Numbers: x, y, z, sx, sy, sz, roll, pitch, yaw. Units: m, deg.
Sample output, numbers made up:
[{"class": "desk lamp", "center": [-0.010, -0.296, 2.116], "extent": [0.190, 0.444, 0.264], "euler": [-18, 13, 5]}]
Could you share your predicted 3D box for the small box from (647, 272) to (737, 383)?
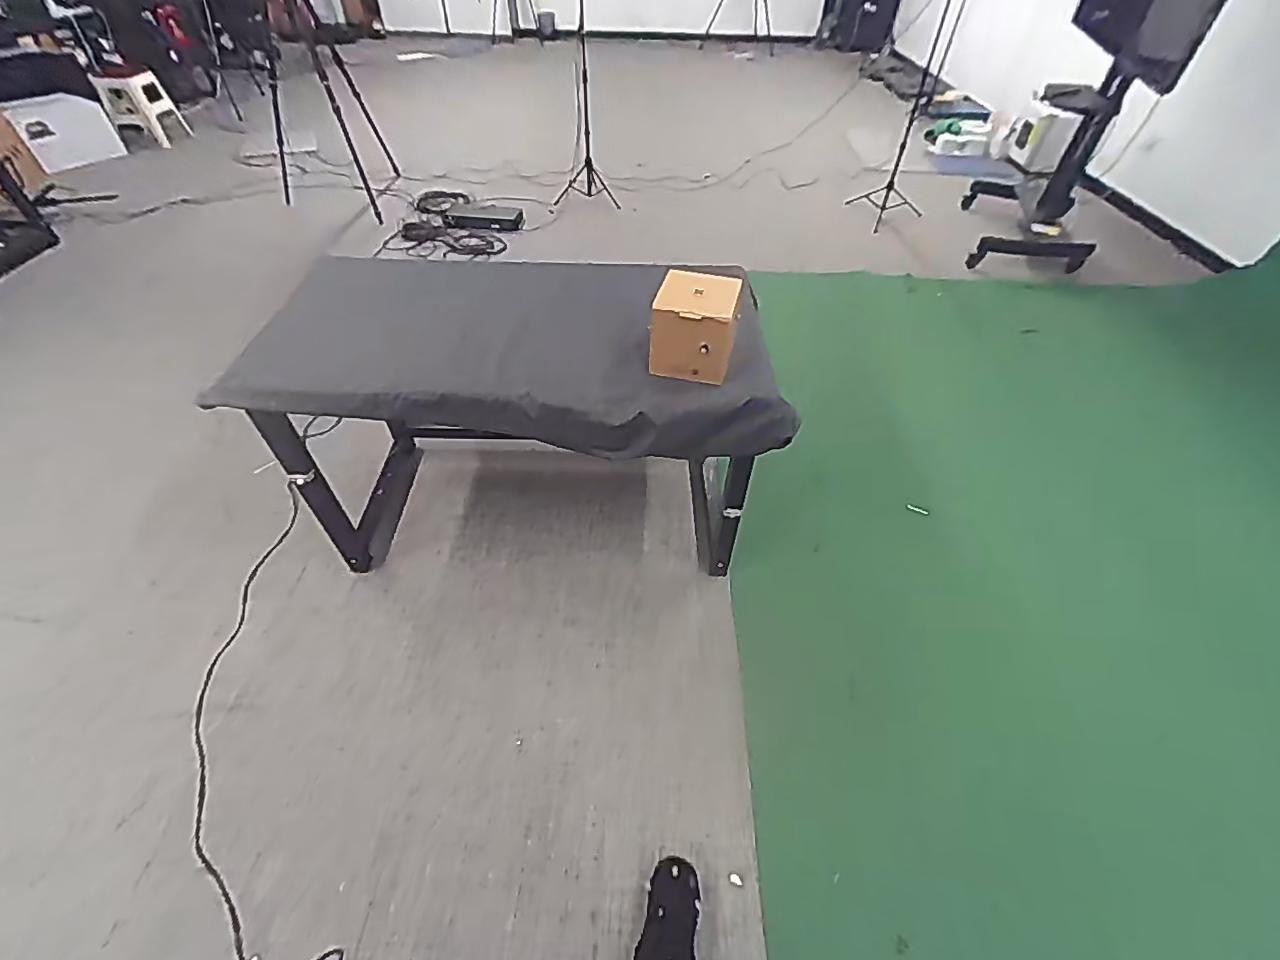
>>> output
[{"class": "small box", "center": [0.113, -0.336, 1.199], "extent": [0.168, 0.176, 0.179], "euler": [11, 46, 8]}]
